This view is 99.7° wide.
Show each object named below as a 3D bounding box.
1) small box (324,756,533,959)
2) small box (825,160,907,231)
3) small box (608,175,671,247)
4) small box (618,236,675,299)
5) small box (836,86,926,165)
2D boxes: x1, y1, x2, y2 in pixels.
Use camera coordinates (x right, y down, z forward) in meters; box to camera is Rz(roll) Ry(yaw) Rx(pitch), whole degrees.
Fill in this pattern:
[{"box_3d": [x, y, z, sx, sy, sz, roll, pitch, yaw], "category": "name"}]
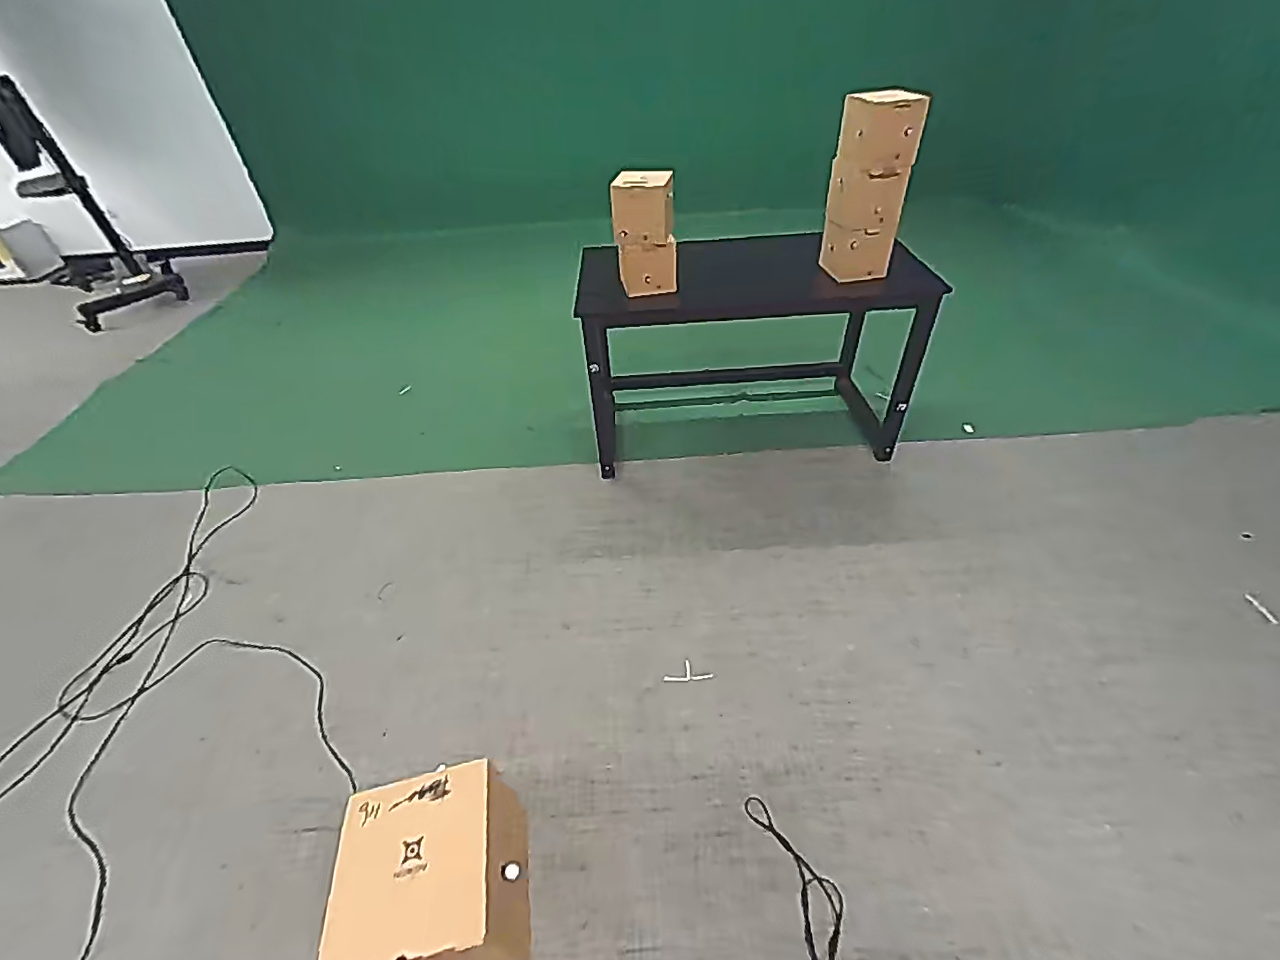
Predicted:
[{"box_3d": [-0.225, 0.459, 0.626, 0.168, 0.176, 0.179, -13, 41, -4], "category": "small box"}, {"box_3d": [0.699, -0.898, 1.698, 0.168, 0.176, 0.179, -10, 42, -4], "category": "small box"}, {"box_3d": [0.005, -0.851, 1.709, 0.168, 0.176, 0.179, 6, 42, 10], "category": "small box"}, {"box_3d": [0.017, -0.728, 1.819, 0.168, 0.176, 0.179, -9, 43, -6], "category": "small box"}, {"box_3d": [0.695, -1.033, 1.579, 0.168, 0.176, 0.179, -9, 41, -5], "category": "small box"}]
